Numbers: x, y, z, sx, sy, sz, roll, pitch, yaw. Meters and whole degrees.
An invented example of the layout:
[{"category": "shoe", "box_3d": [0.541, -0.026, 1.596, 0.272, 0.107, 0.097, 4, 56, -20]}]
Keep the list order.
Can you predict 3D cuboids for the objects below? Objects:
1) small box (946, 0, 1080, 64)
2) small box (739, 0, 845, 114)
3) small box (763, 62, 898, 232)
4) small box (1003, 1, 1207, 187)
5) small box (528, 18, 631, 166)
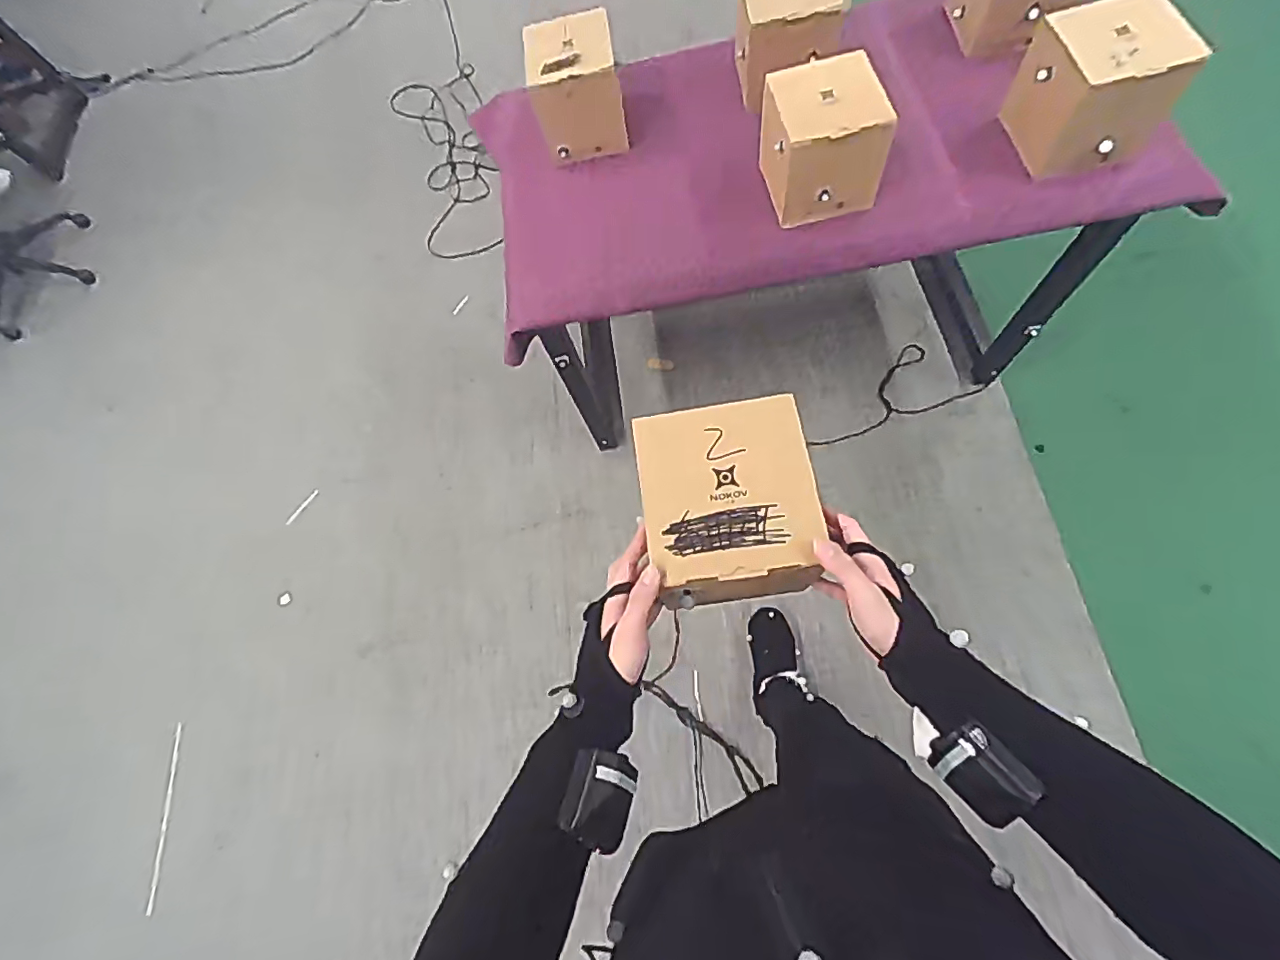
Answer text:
[{"category": "small box", "box_3d": [0.705, -0.918, 1.007, 0.168, 0.176, 0.179, -8, 71, 6]}, {"category": "small box", "box_3d": [0.286, -0.848, 1.052, 0.168, 0.176, 0.179, -6, 69, 6]}, {"category": "small box", "box_3d": [0.318, -0.572, 0.944, 0.168, 0.176, 0.179, -11, 68, 5]}, {"category": "small box", "box_3d": [0.742, -0.626, 0.891, 0.168, 0.176, 0.179, -10, 68, 7]}, {"category": "small box", "box_3d": [-0.116, -0.761, 1.082, 0.168, 0.176, 0.179, -9, 68, 5]}]
